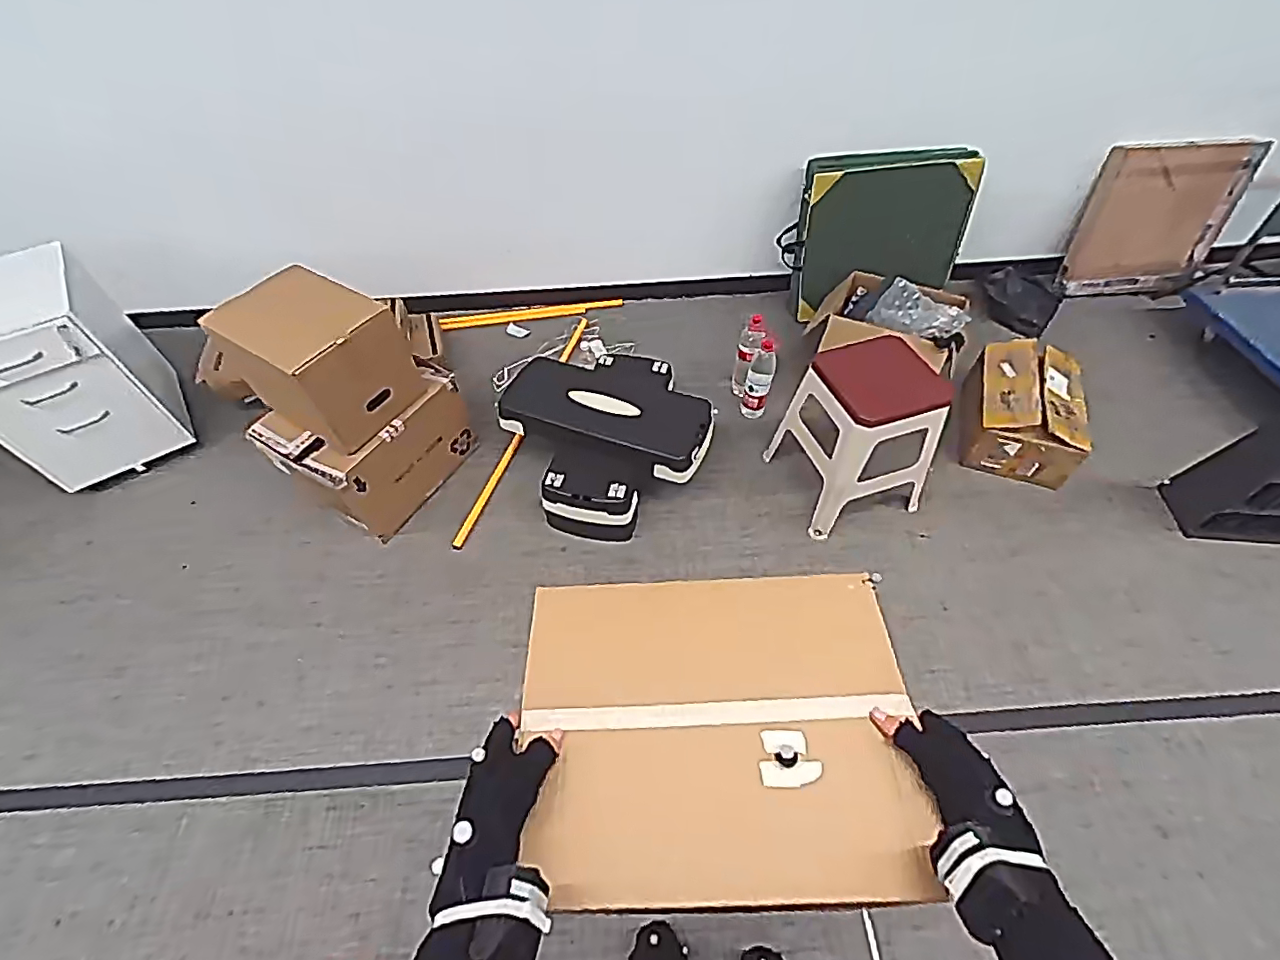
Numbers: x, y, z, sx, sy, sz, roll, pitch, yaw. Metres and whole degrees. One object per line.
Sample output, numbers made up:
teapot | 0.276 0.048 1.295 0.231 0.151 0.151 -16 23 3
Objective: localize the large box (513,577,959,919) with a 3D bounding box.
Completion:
large box | 0.085 0.343 0.681 0.408 0.320 0.320 -3 51 2
